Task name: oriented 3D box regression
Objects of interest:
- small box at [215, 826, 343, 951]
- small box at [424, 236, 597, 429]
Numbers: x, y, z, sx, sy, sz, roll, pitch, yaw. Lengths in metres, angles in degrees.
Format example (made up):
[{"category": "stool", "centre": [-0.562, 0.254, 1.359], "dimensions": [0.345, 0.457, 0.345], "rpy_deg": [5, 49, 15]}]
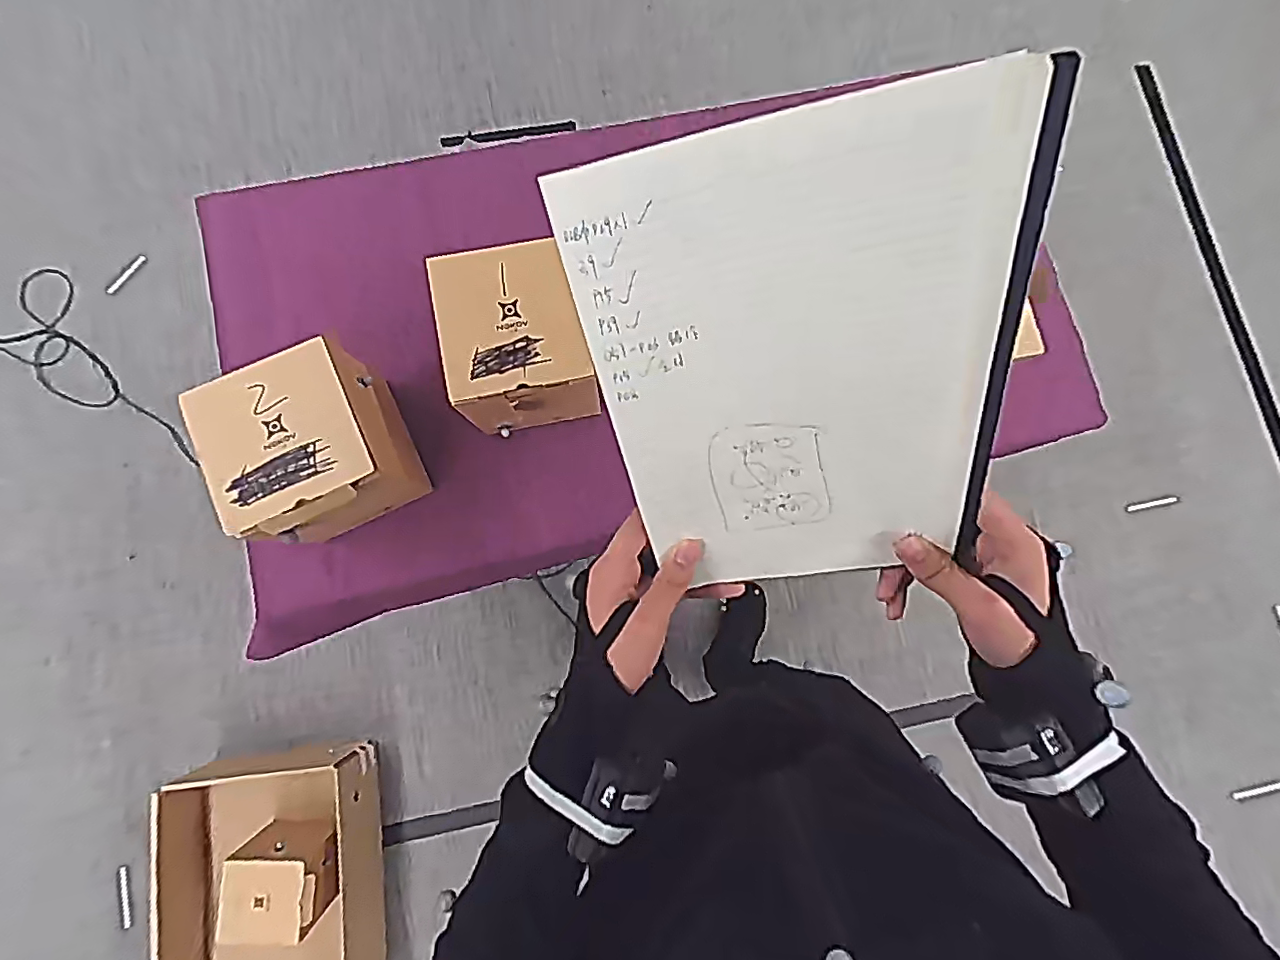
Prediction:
[{"category": "small box", "centre": [-0.793, 0.901, 1.207], "dimensions": [0.179, 0.176, 0.168], "rpy_deg": [2, 83, -2]}, {"category": "small box", "centre": [-0.150, -0.169, 0.681], "dimensions": [0.168, 0.176, 0.179], "rpy_deg": [-11, 82, -4]}]
